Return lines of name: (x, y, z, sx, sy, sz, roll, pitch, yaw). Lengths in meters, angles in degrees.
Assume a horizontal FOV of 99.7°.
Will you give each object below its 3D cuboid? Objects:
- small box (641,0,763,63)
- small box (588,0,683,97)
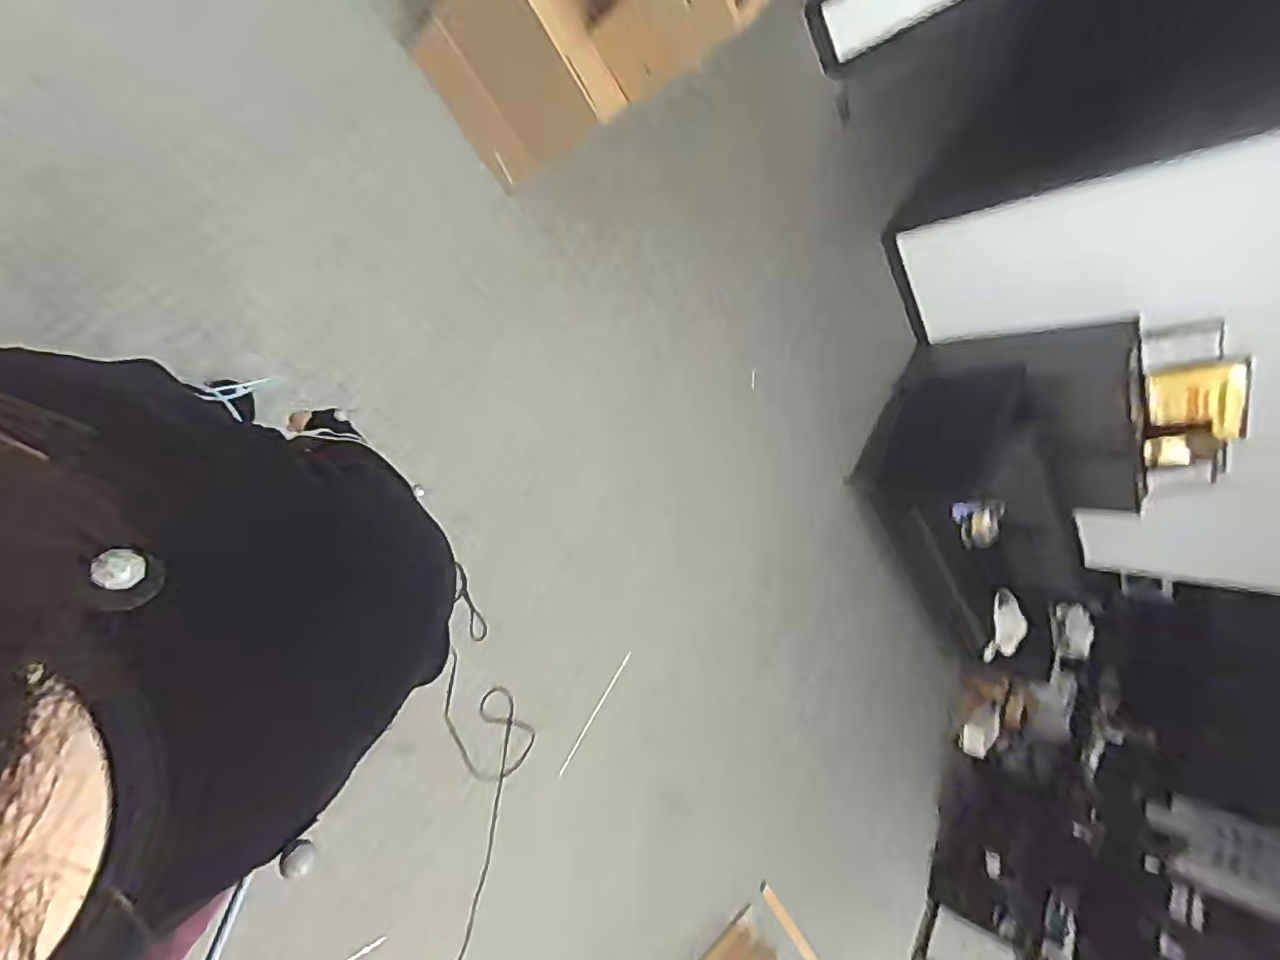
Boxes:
small box: (0.126, -1.031, 1.144, 0.179, 0.176, 0.168, 49, 62, -31)
small box: (0.015, -1.042, 1.265, 0.179, 0.176, 0.168, 48, 62, -32)
